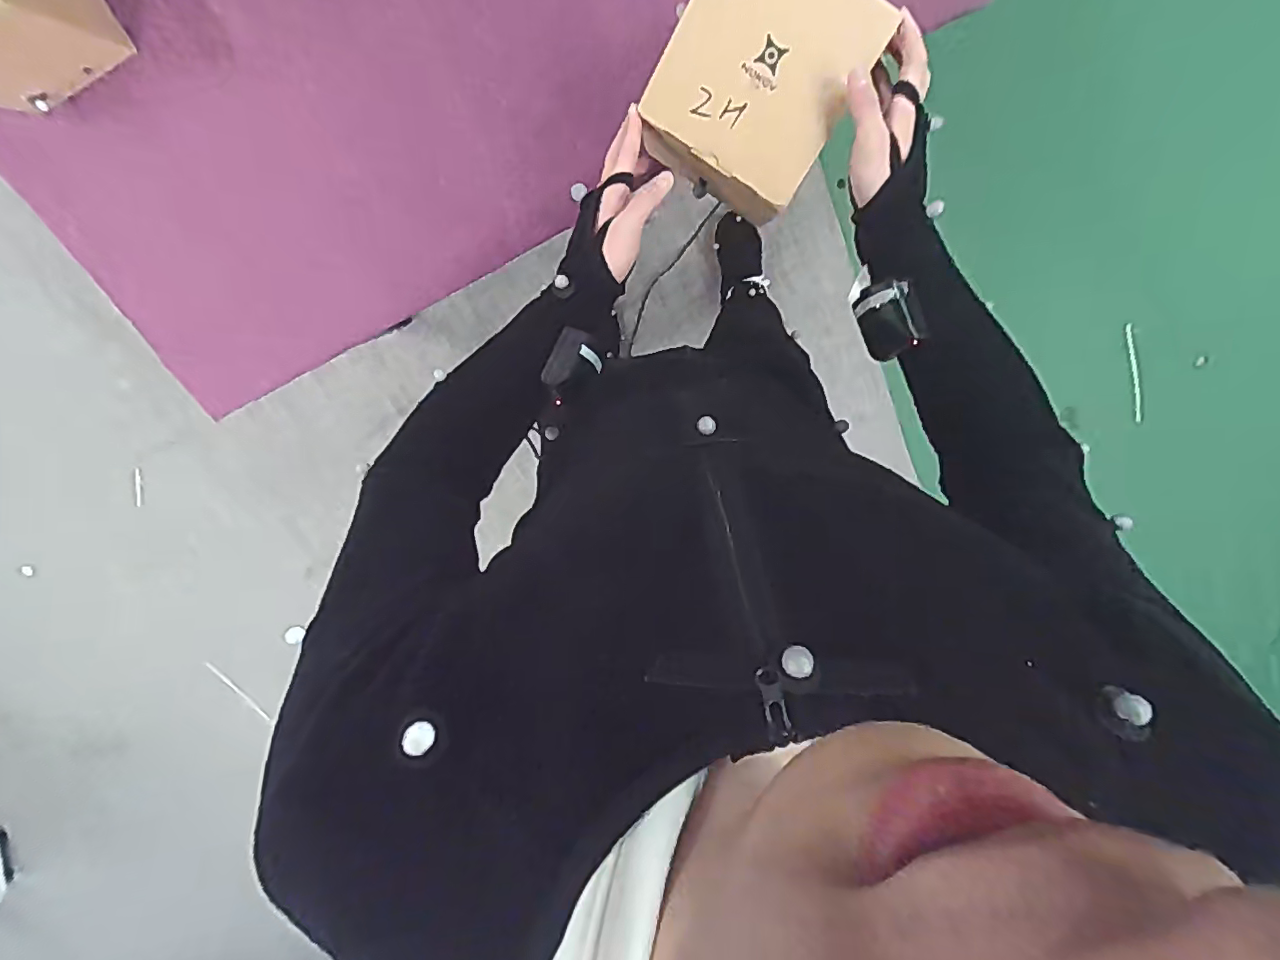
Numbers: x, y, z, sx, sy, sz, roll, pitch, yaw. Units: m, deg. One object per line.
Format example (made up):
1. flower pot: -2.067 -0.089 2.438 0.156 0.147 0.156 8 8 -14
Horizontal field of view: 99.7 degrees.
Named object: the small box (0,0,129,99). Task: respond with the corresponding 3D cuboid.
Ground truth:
1. small box: -0.725 -0.540 0.574 0.168 0.176 0.179 -23 112 8
